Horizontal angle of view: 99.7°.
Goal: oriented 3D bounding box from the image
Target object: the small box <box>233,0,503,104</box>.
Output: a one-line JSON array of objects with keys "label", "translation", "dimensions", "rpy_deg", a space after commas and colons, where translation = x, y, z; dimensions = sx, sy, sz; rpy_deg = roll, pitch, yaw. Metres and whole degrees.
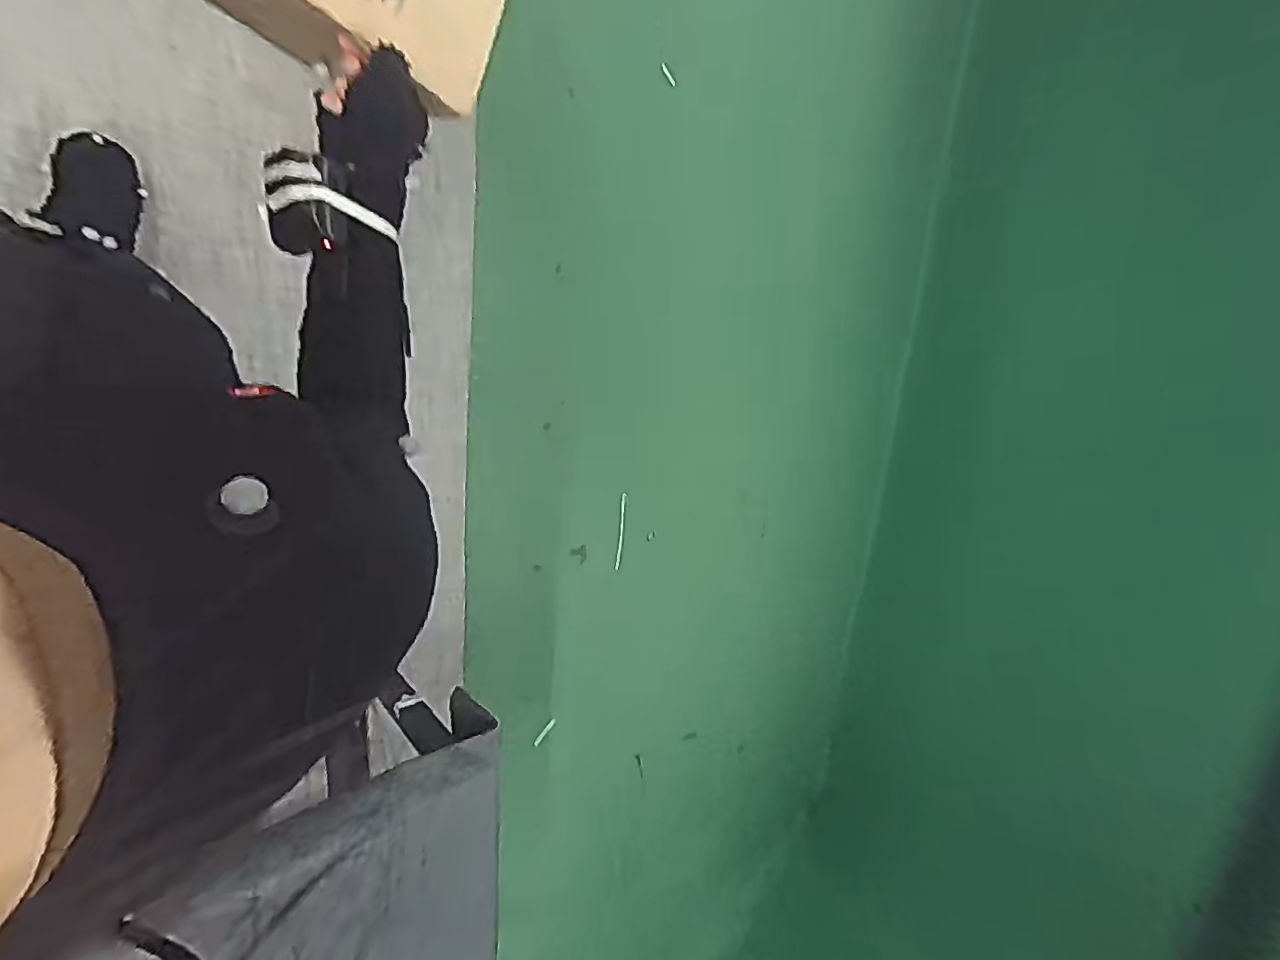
[{"label": "small box", "translation": [-0.229, -0.458, 0.456], "dimensions": [0.168, 0.176, 0.179], "rpy_deg": [7, 108, -55]}]
